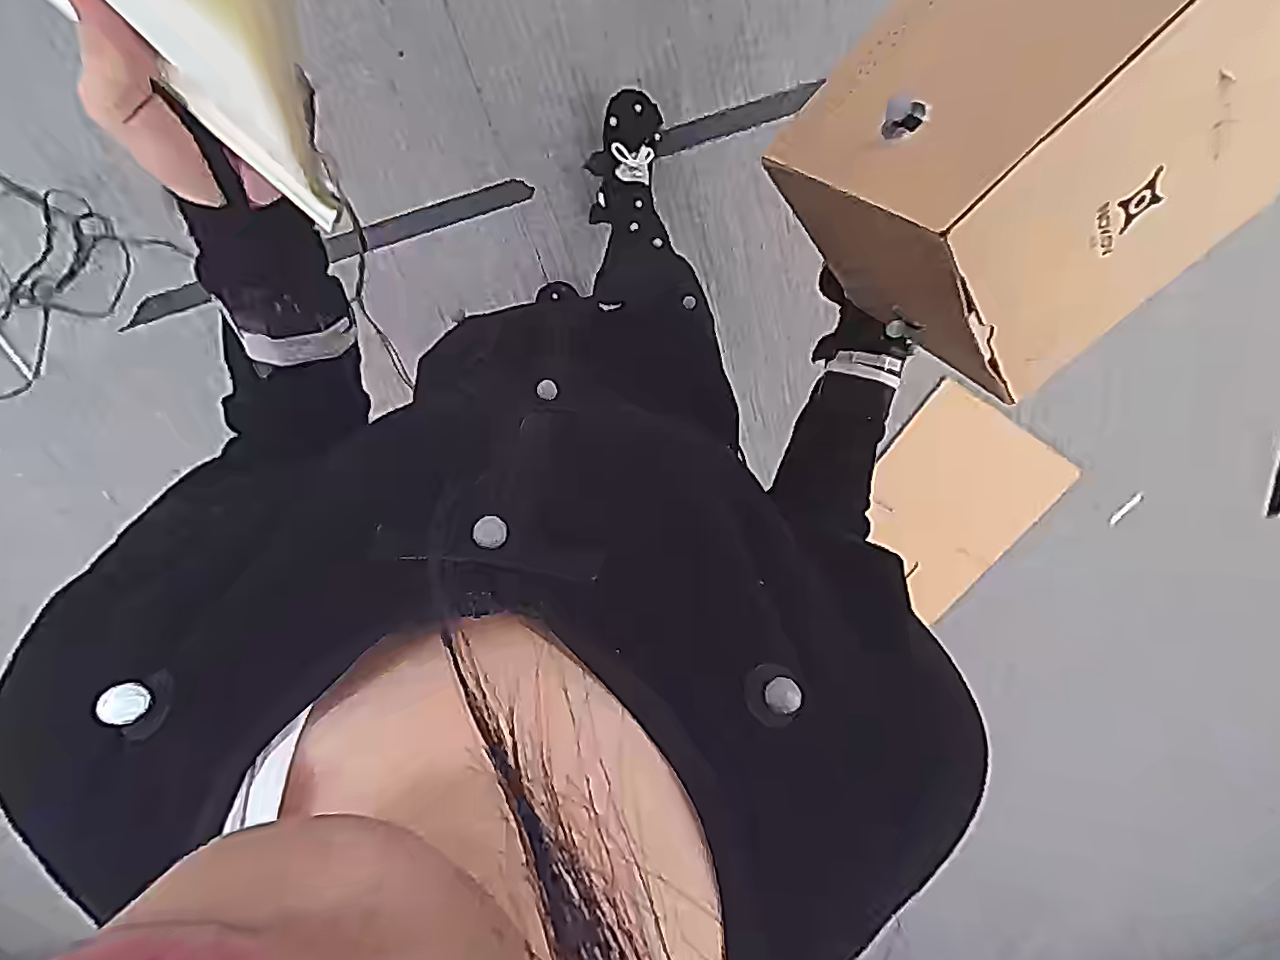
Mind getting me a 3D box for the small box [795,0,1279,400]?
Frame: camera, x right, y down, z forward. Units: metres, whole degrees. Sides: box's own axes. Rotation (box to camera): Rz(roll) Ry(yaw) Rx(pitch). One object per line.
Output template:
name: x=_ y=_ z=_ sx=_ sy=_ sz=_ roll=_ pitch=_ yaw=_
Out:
small box: x=0.219 y=-0.188 z=0.321 sx=0.179 sy=0.176 sz=0.168 roll=-46 pitch=134 yaw=16
